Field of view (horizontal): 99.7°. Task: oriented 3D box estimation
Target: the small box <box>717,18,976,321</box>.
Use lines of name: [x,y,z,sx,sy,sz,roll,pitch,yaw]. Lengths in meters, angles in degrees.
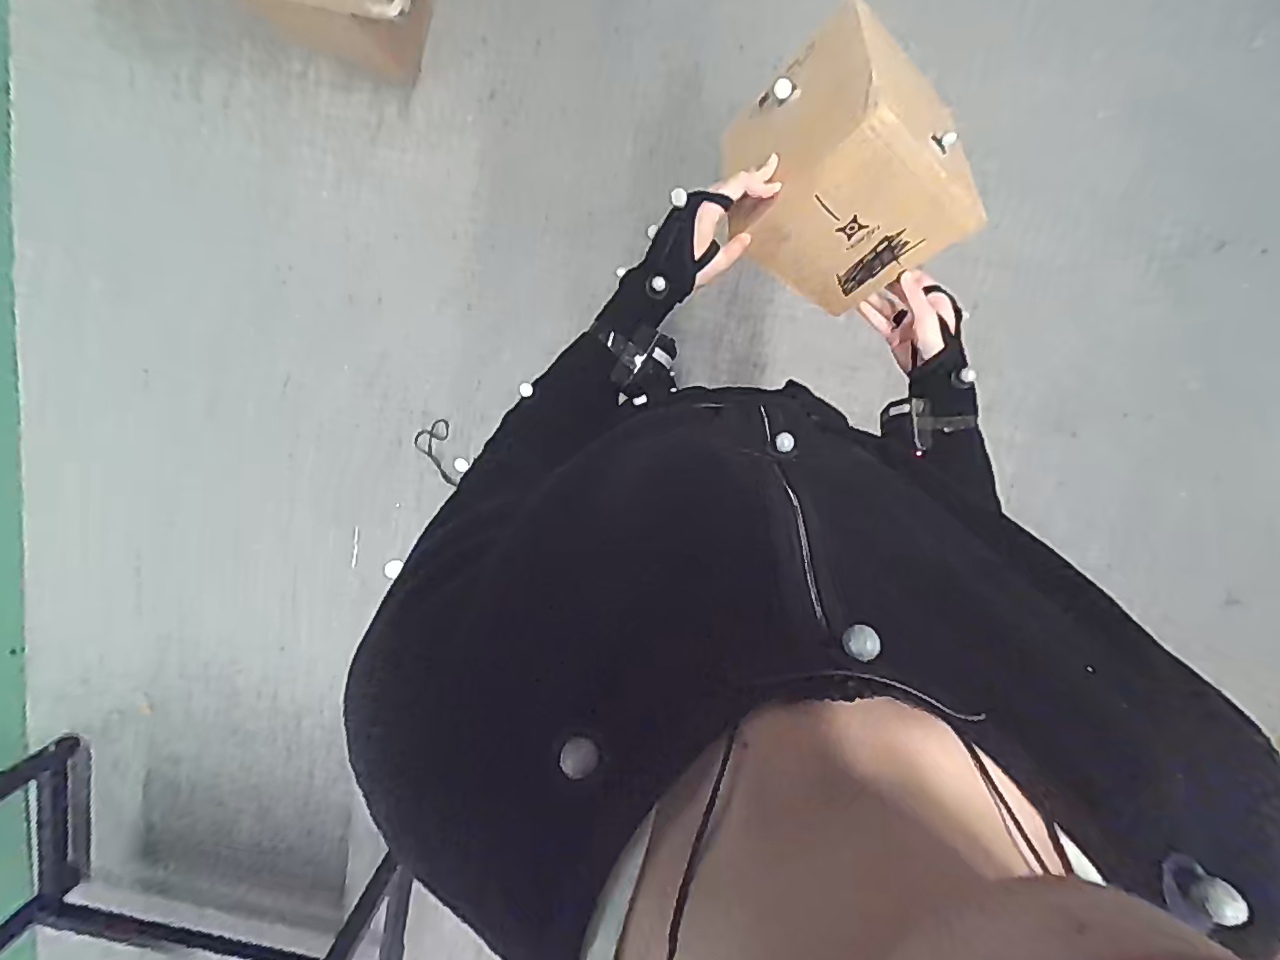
small box: [0.198,-0.302,0.548,0.179,0.168,0.176,18,57,-32]
